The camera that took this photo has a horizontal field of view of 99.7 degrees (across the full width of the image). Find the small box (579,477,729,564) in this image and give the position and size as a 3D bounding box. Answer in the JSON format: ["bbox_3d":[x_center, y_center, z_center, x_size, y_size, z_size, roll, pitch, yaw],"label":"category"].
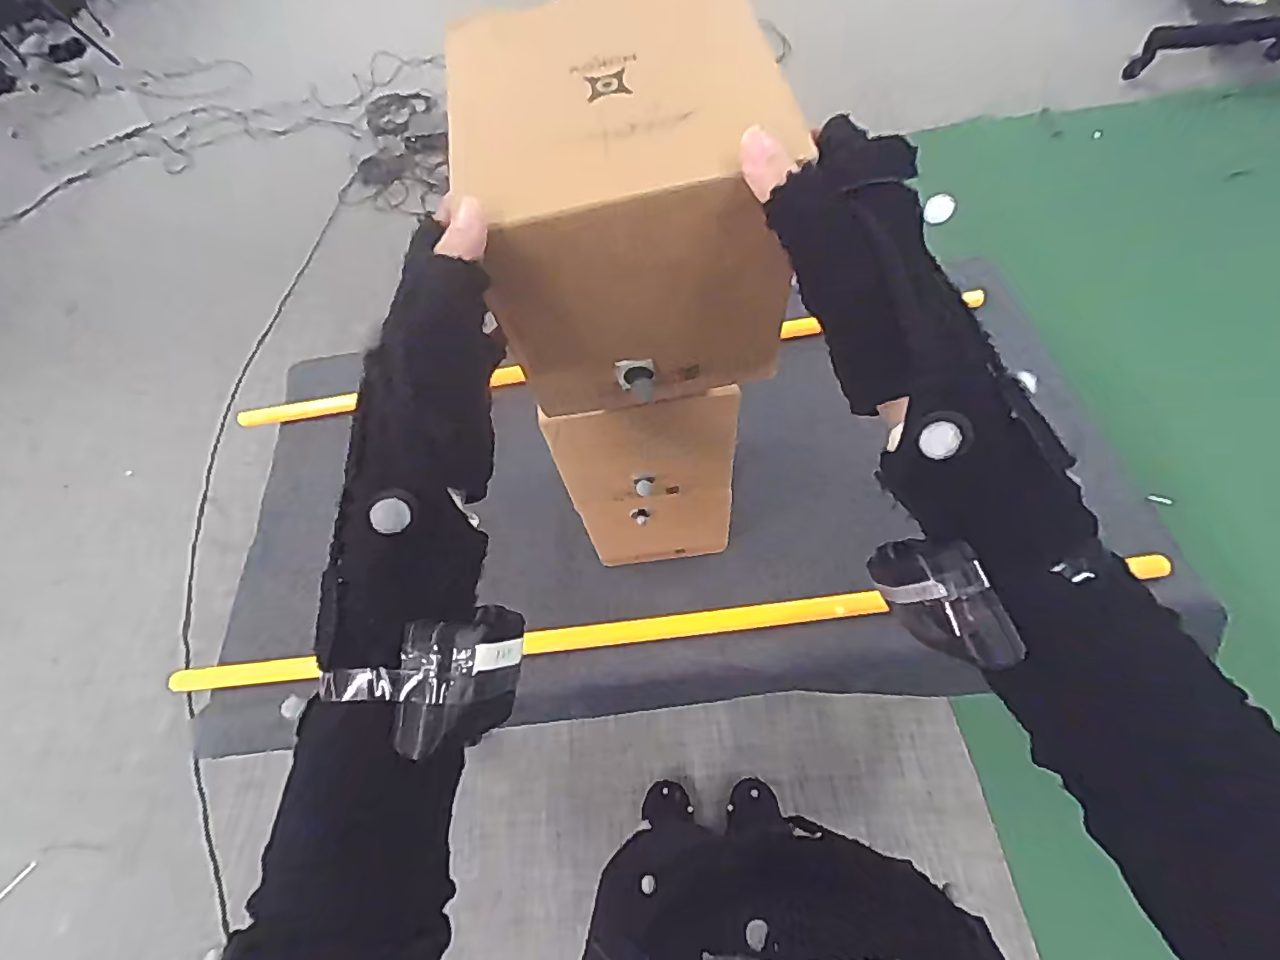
[{"bbox_3d":[0.017,-0.010,0.694,0.168,0.176,0.179,-8,59,3],"label":"small box"}]

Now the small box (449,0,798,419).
[{"bbox_3d":[-0.012,-0.166,0.356,0.168,0.176,0.179,-11,65,2],"label":"small box"}]

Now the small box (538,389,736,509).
[{"bbox_3d":[-0.003,-0.091,0.551,0.168,0.176,0.179,-8,60,2],"label":"small box"}]
